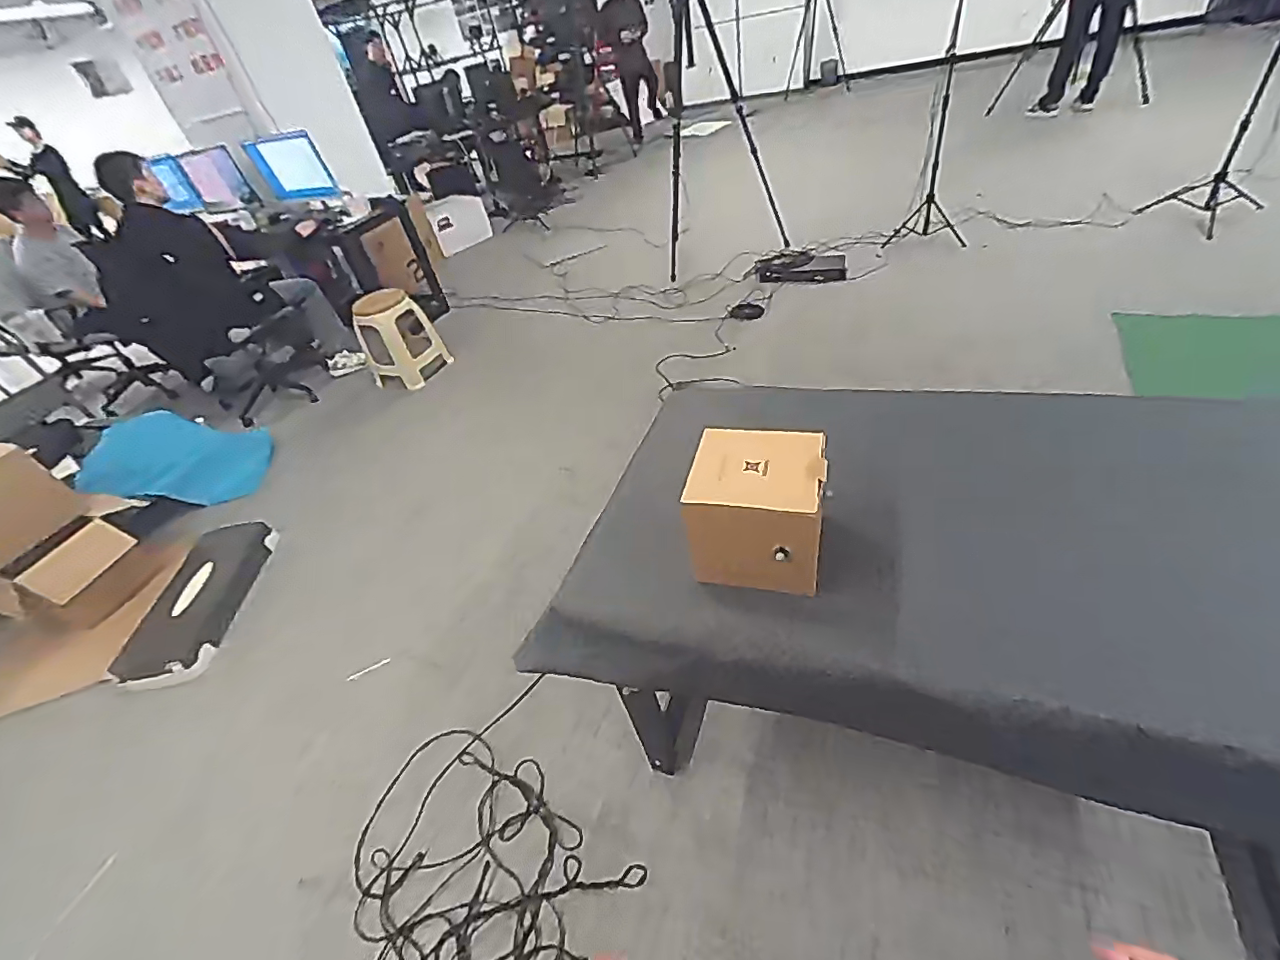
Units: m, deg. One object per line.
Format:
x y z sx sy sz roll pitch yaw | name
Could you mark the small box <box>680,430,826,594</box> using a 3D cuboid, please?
0.170 0.046 0.783 0.179 0.176 0.168 3 42 20 | small box
